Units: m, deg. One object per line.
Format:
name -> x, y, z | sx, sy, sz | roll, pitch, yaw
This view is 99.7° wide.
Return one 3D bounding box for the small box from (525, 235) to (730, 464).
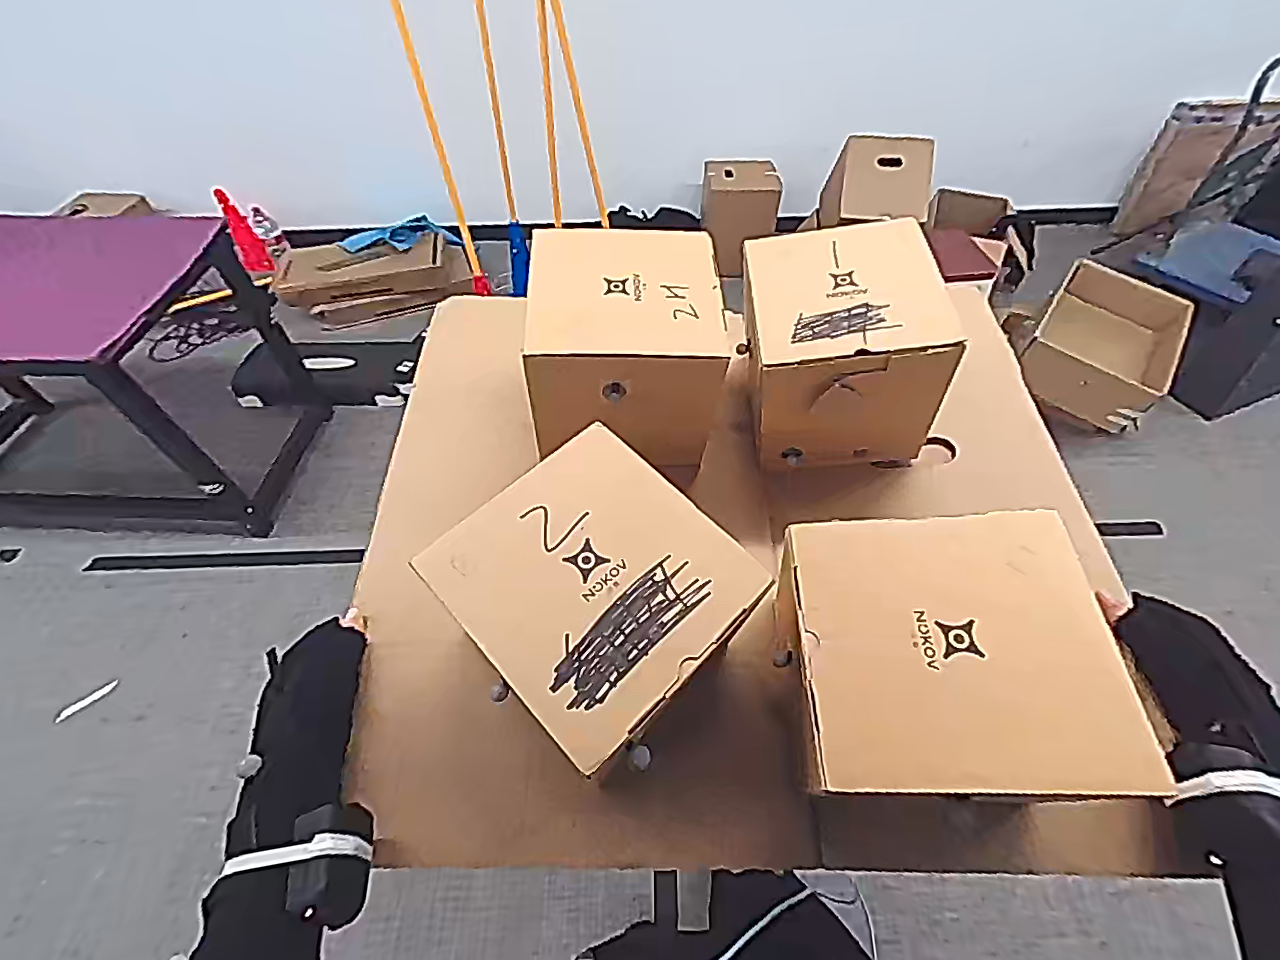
small box -> -0.015, -0.127, 0.561 | 0.179, 0.176, 0.168 | 0, 59, -4
